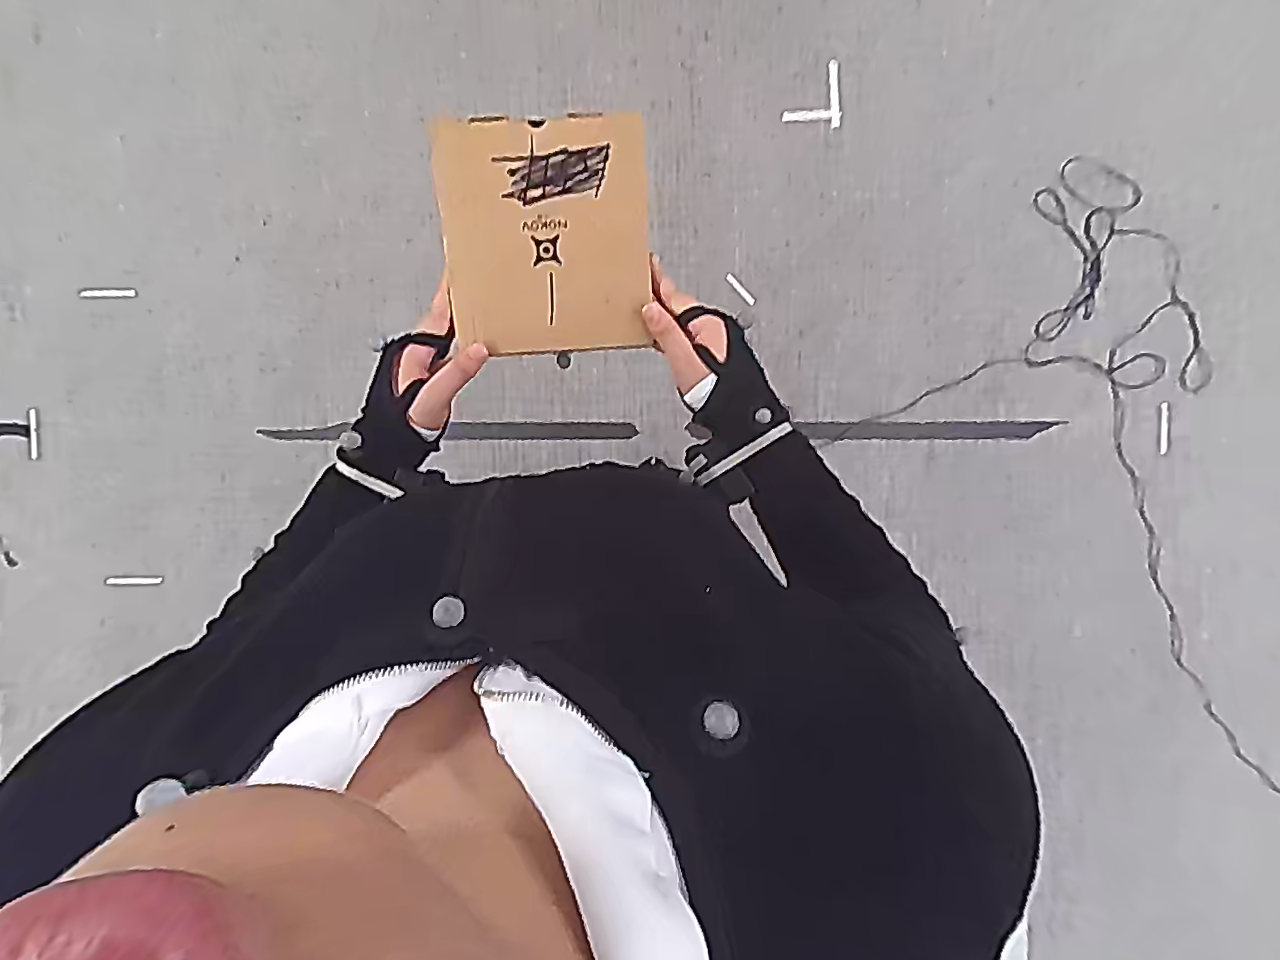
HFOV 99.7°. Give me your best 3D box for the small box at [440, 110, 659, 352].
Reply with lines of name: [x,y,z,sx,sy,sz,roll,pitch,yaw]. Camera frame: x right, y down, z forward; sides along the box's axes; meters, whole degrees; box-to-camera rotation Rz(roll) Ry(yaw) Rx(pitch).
small box: [-0.073,-0.214,0.510,0.168,0.176,0.179,-3,104,-2]
